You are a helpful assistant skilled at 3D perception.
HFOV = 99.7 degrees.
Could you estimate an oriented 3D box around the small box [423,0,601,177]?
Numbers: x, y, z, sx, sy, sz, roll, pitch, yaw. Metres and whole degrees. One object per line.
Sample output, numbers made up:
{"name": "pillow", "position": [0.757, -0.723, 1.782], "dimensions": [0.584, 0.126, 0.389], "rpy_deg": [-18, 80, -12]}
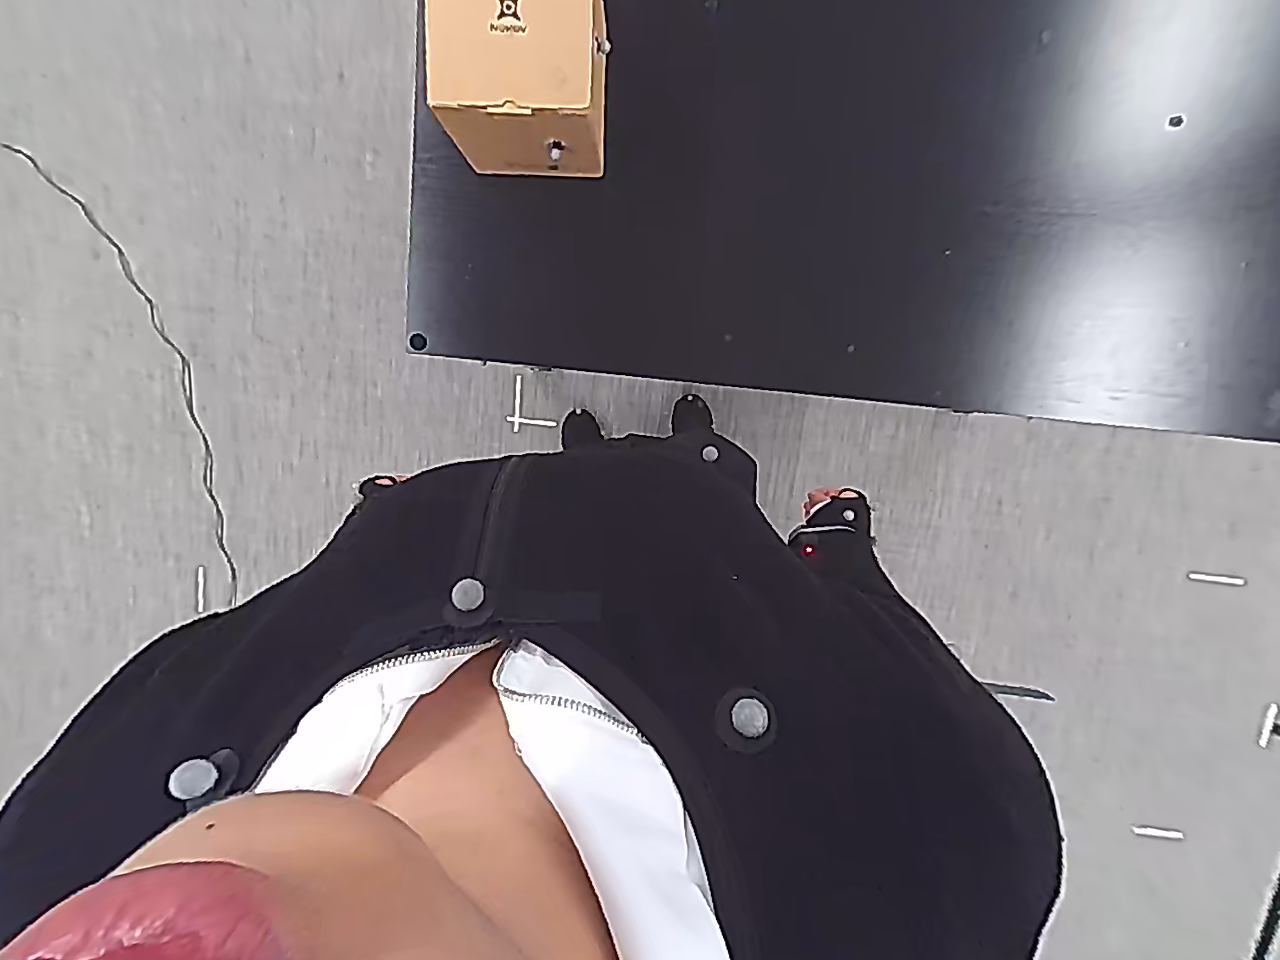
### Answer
{"name": "small box", "position": [-0.132, -0.468, 0.613], "dimensions": [0.168, 0.176, 0.179], "rpy_deg": [2, 98, -1]}
